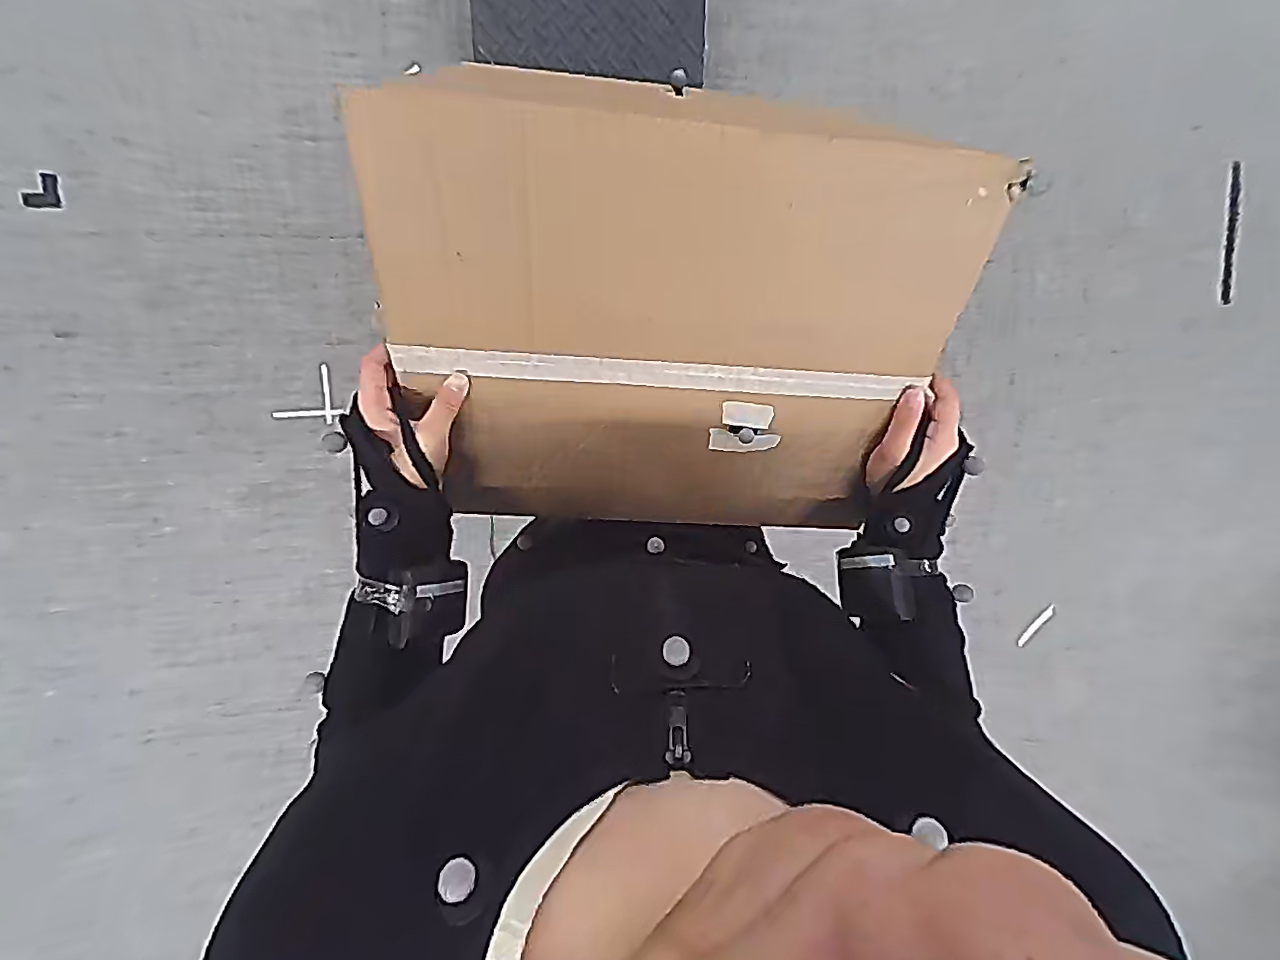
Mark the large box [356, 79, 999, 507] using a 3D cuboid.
[{"bbox_3d":[0.012,-0.187,0.534,0.408,0.320,0.320,1,130,-6],"label":"large box"}]
